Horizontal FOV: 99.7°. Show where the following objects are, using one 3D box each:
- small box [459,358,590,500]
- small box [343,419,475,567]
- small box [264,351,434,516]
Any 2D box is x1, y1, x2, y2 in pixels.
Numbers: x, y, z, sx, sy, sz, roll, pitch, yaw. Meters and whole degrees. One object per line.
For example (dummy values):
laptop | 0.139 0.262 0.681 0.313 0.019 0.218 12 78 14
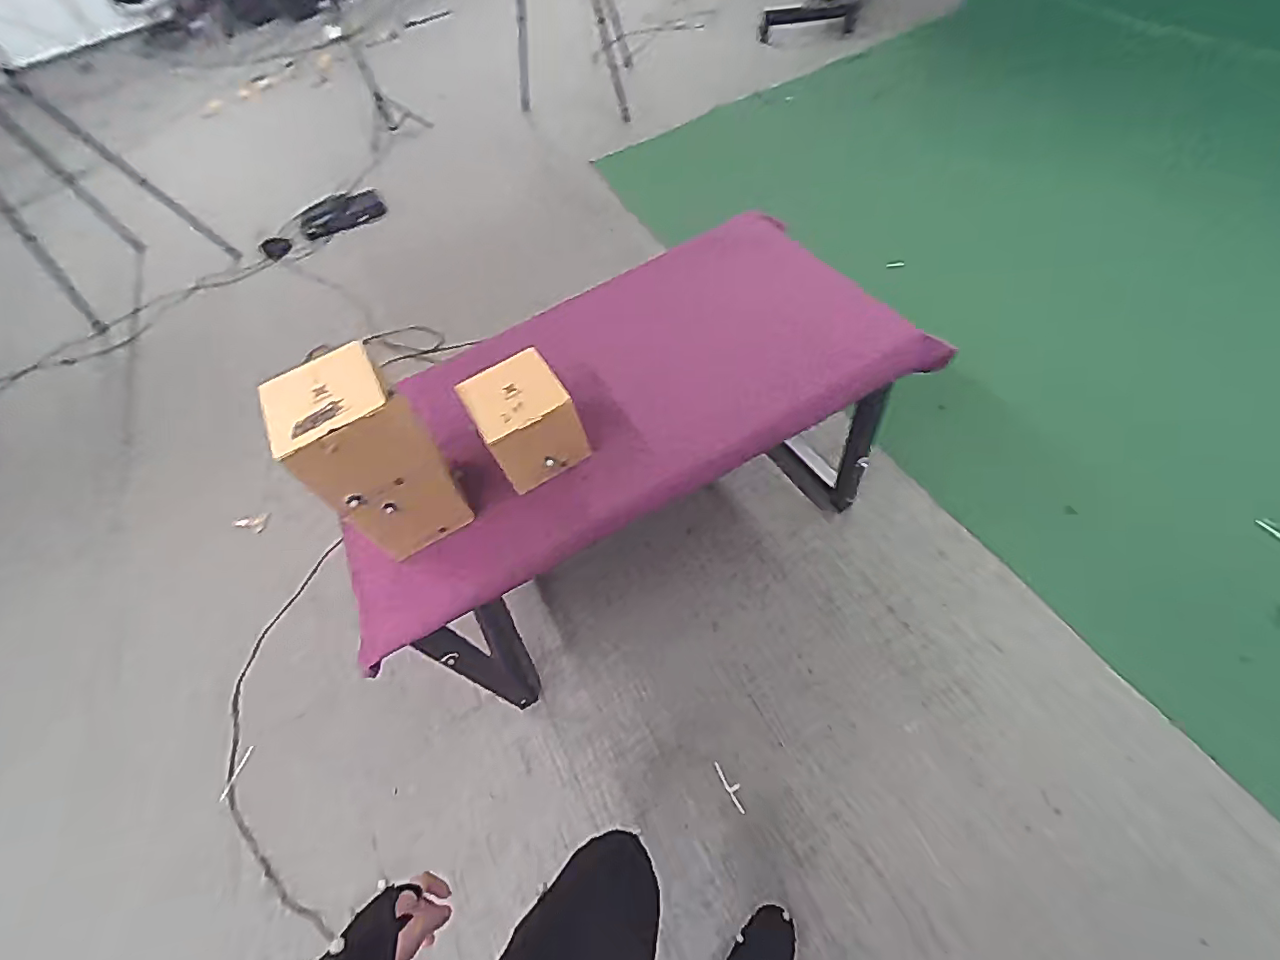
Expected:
small box | -0.217 -0.095 1.042 0.168 0.176 0.179 -30 56 -10
small box | -0.434 0.027 0.999 0.168 0.176 0.179 -30 55 -10
small box | -0.456 -0.065 0.864 0.168 0.176 0.179 -29 55 -10
